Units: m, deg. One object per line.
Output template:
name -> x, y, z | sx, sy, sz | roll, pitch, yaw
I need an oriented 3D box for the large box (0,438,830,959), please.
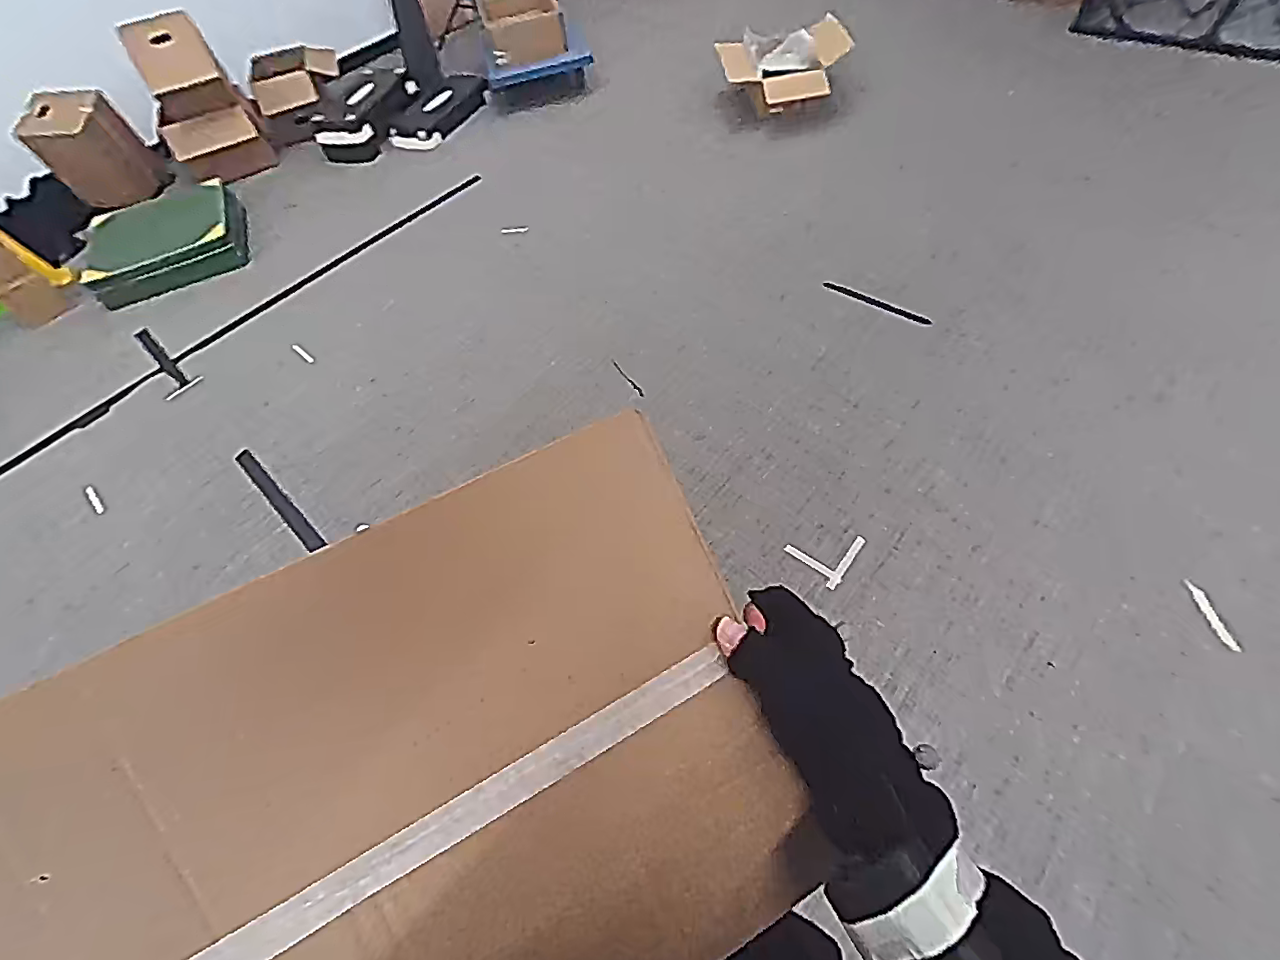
large box -> -0.144, 0.200, 0.440 | 0.408, 0.320, 0.320 | -27, 93, -13
